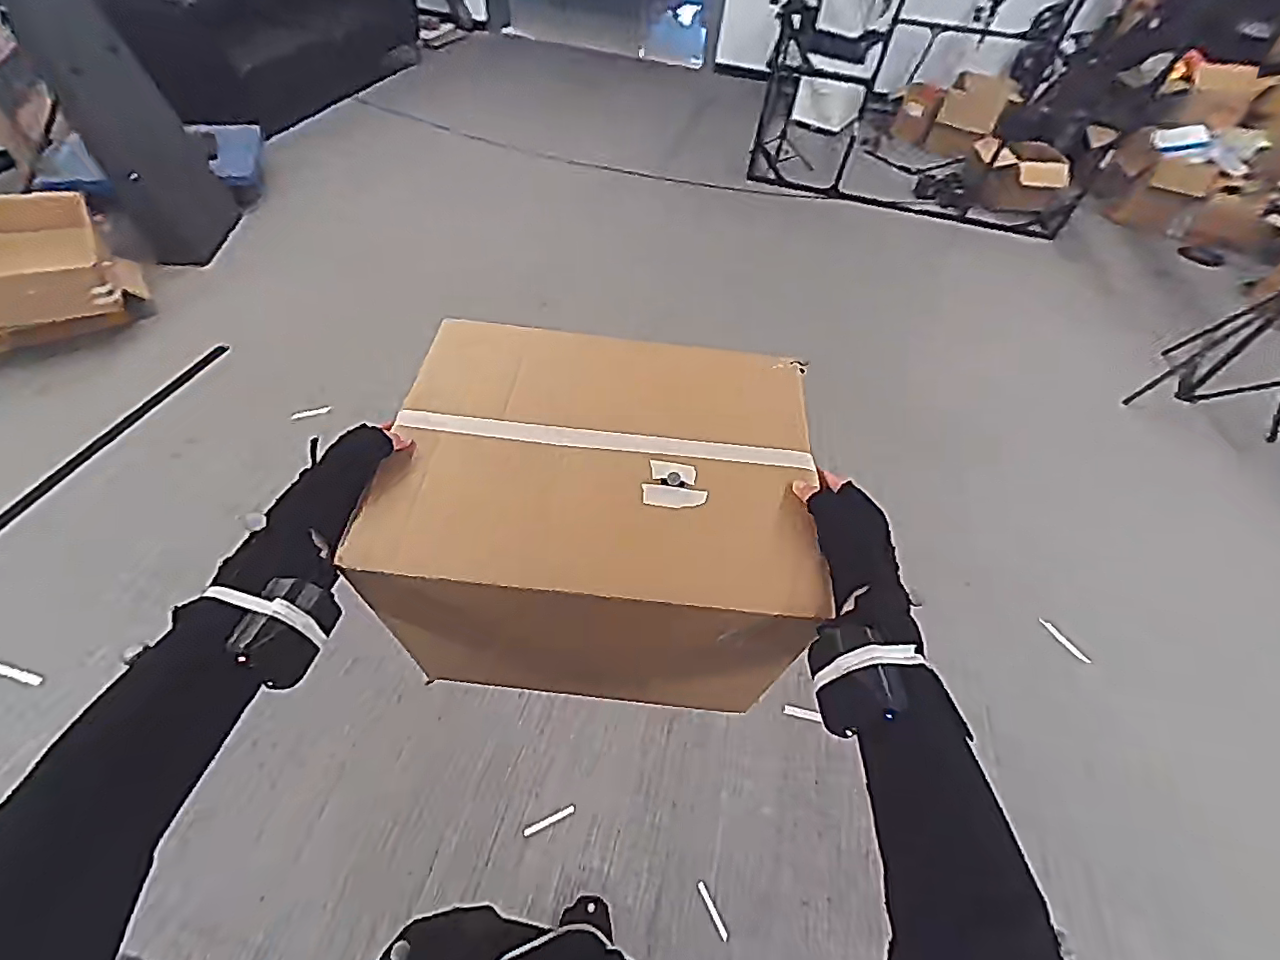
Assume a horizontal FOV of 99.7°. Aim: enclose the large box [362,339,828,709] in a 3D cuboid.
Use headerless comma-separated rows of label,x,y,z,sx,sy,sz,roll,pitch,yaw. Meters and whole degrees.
large box,-0.039,0.065,0.658,0.408,0.320,0.320,7,54,-1
